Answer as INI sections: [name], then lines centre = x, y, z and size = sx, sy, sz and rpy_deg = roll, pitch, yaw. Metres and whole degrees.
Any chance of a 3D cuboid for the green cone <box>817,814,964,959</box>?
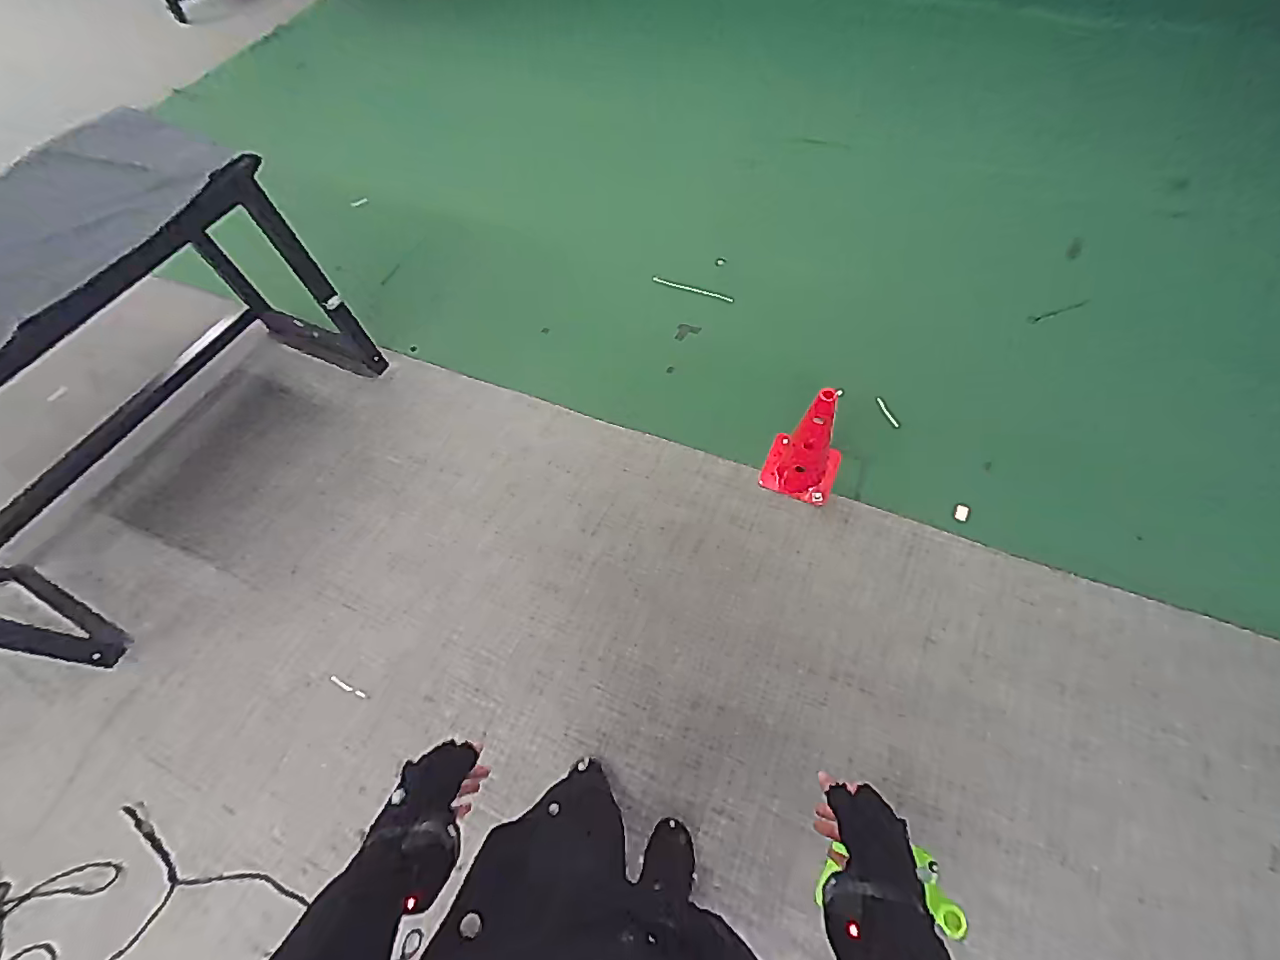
[green cone]
centre = 0.475, 0.747, 0.961
size = 0.200, 0.368, 0.202
rpy_deg = 25, 65, 18
